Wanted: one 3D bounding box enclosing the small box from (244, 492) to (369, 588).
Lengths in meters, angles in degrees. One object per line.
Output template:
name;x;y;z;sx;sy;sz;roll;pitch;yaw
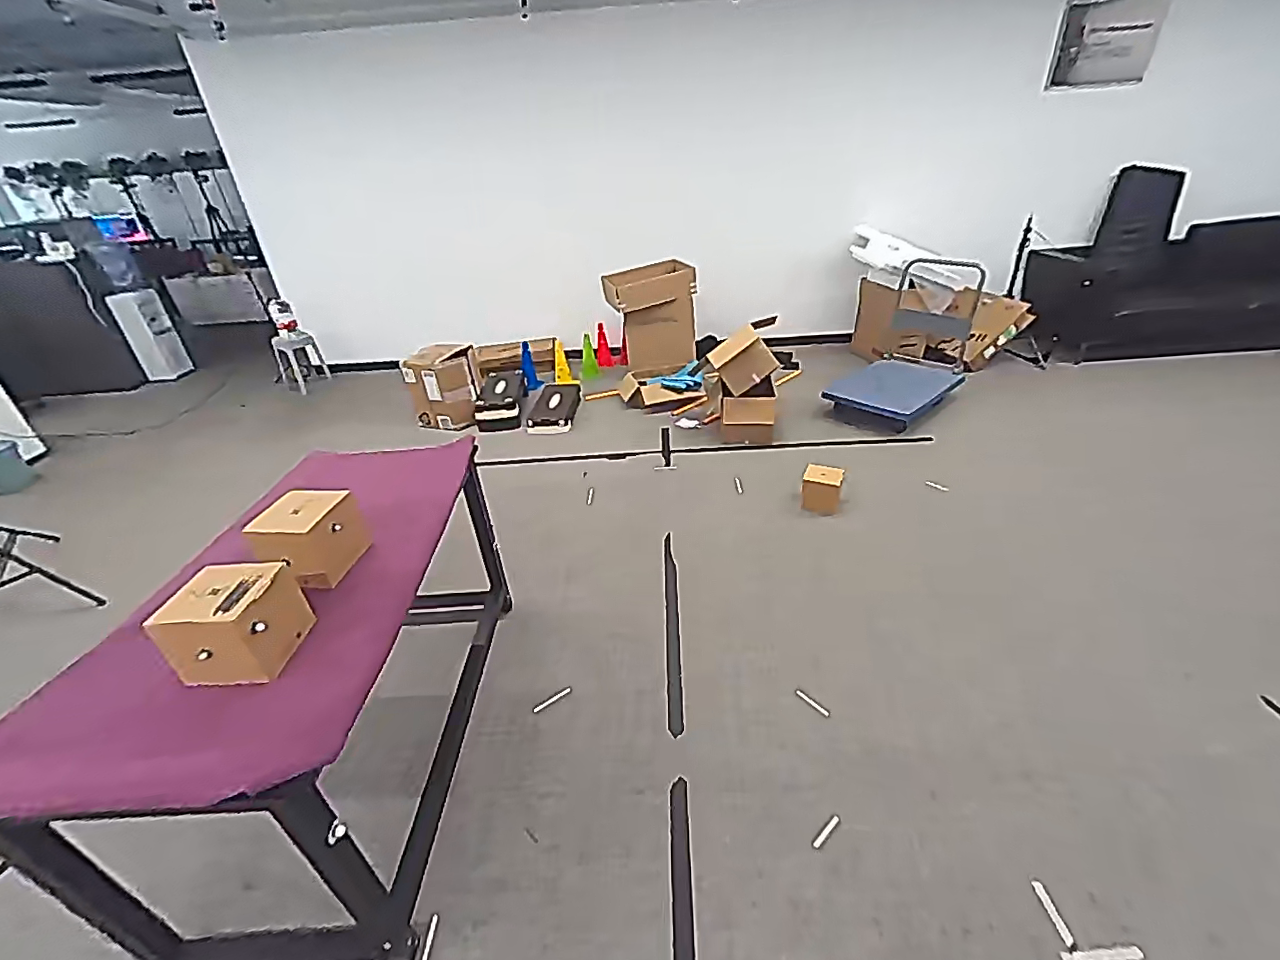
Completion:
small box;-0.793;0.144;1.312;0.168;0.176;0.179;1;31;8

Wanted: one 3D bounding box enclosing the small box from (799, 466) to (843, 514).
small box;0.903;0.052;2.701;0.179;0.176;0.168;11;33;23
